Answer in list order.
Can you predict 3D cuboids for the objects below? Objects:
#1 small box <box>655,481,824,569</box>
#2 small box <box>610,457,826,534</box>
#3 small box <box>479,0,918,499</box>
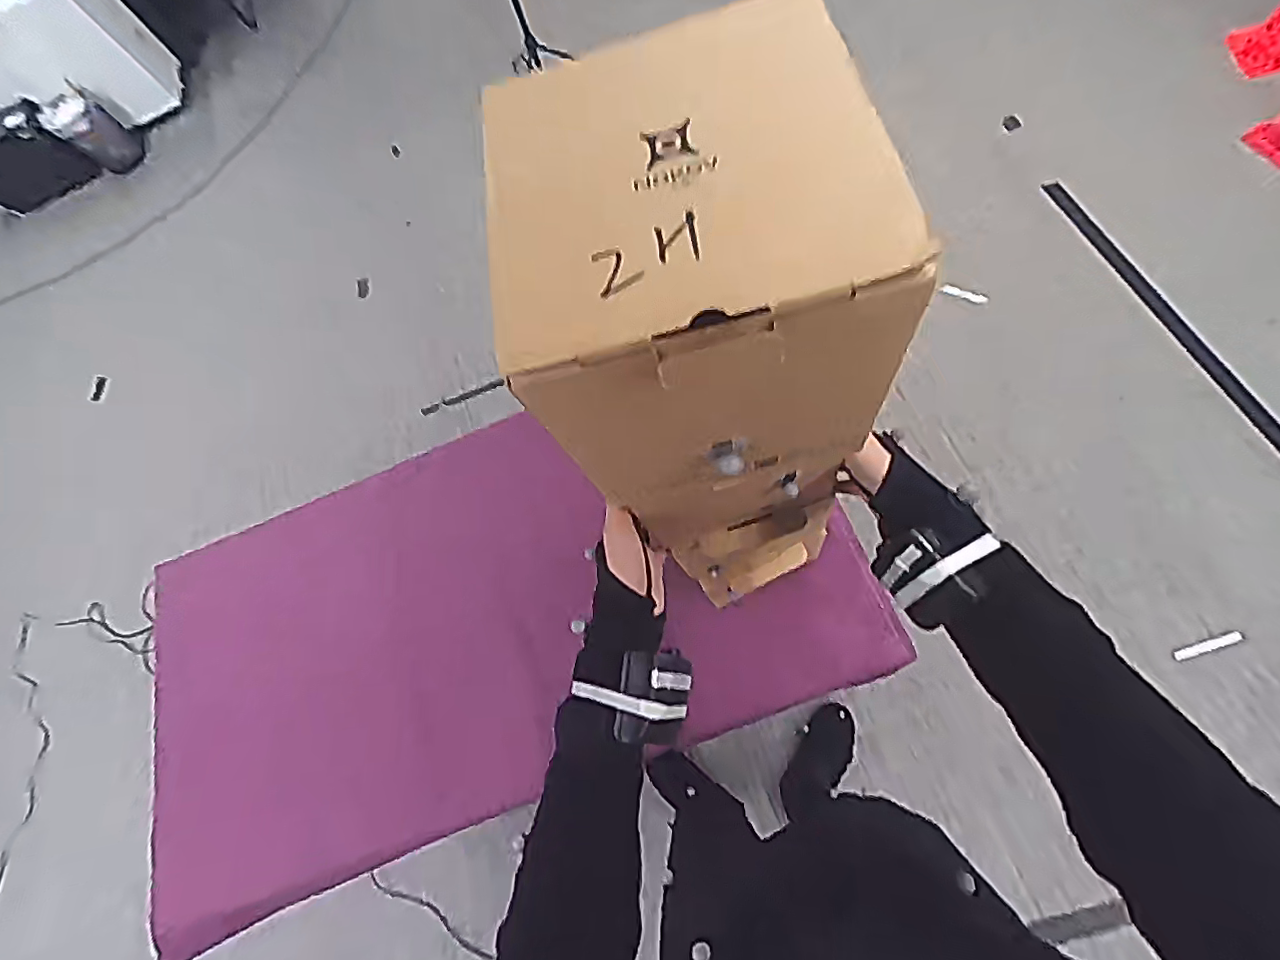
[{"bbox_3d":[0.092,-0.008,0.611,0.168,0.176,0.179,-20,67,6],"label":"small box"},{"bbox_3d":[0.054,-0.064,0.463,0.168,0.176,0.179,-18,67,6],"label":"small box"},{"bbox_3d":[0.025,-0.107,0.306,0.168,0.176,0.179,-13,69,8],"label":"small box"}]
